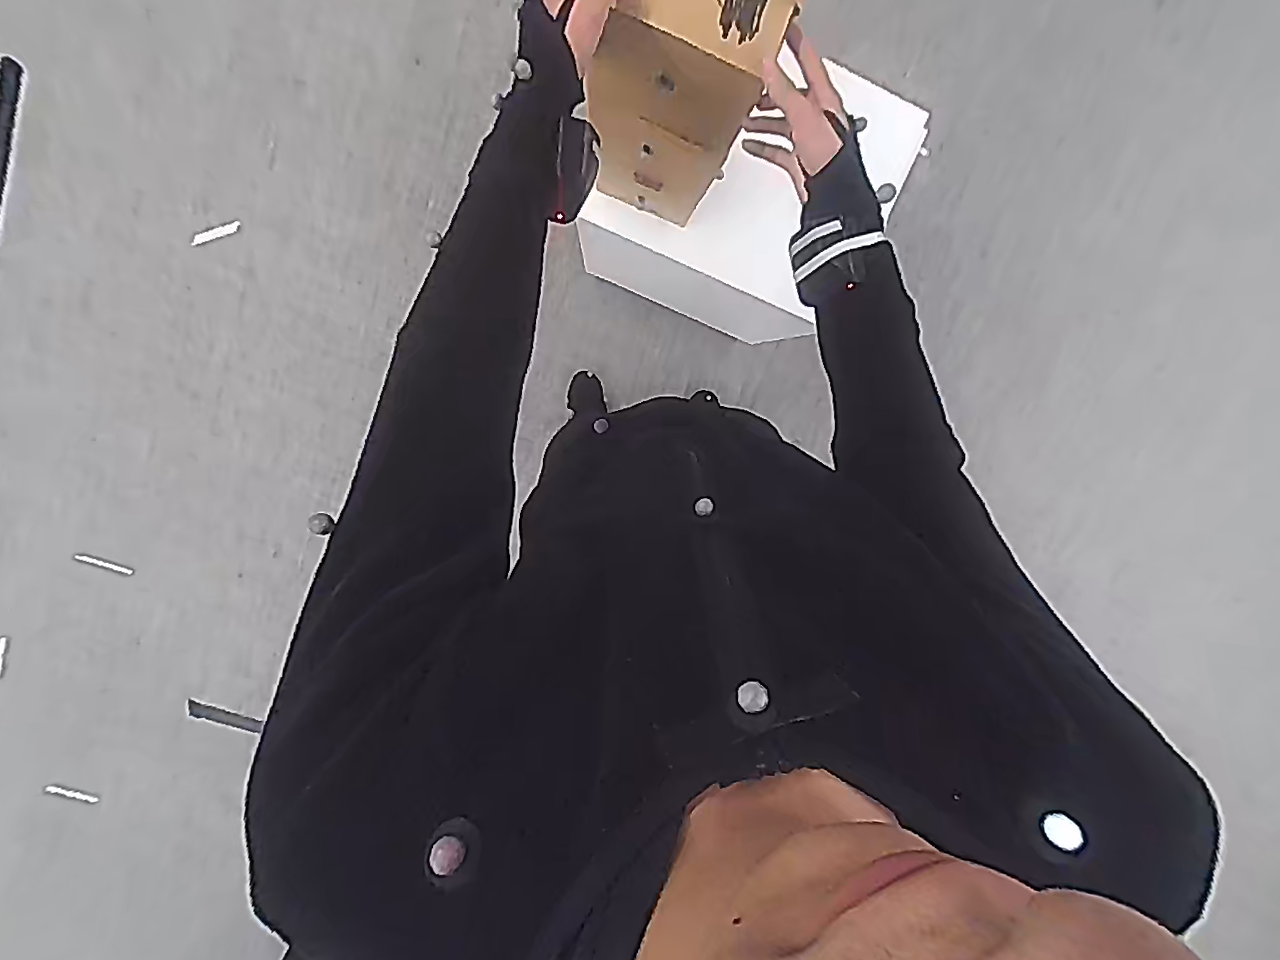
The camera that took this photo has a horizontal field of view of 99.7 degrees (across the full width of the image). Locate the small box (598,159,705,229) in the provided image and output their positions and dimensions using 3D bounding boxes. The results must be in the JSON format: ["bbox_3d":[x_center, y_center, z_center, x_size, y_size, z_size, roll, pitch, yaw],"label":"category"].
[{"bbox_3d":[0.036,-0.521,0.835,0.168,0.176,0.179,20,100,-7],"label":"small box"}]

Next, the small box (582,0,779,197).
[{"bbox_3d":[0.041,-0.481,0.675,0.179,0.176,0.168,21,100,-7],"label":"small box"}]

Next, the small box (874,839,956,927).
[{"bbox_3d":[0.968,1.424,1.921,0.168,0.176,0.179,19,101,-7],"label":"small box"}]
